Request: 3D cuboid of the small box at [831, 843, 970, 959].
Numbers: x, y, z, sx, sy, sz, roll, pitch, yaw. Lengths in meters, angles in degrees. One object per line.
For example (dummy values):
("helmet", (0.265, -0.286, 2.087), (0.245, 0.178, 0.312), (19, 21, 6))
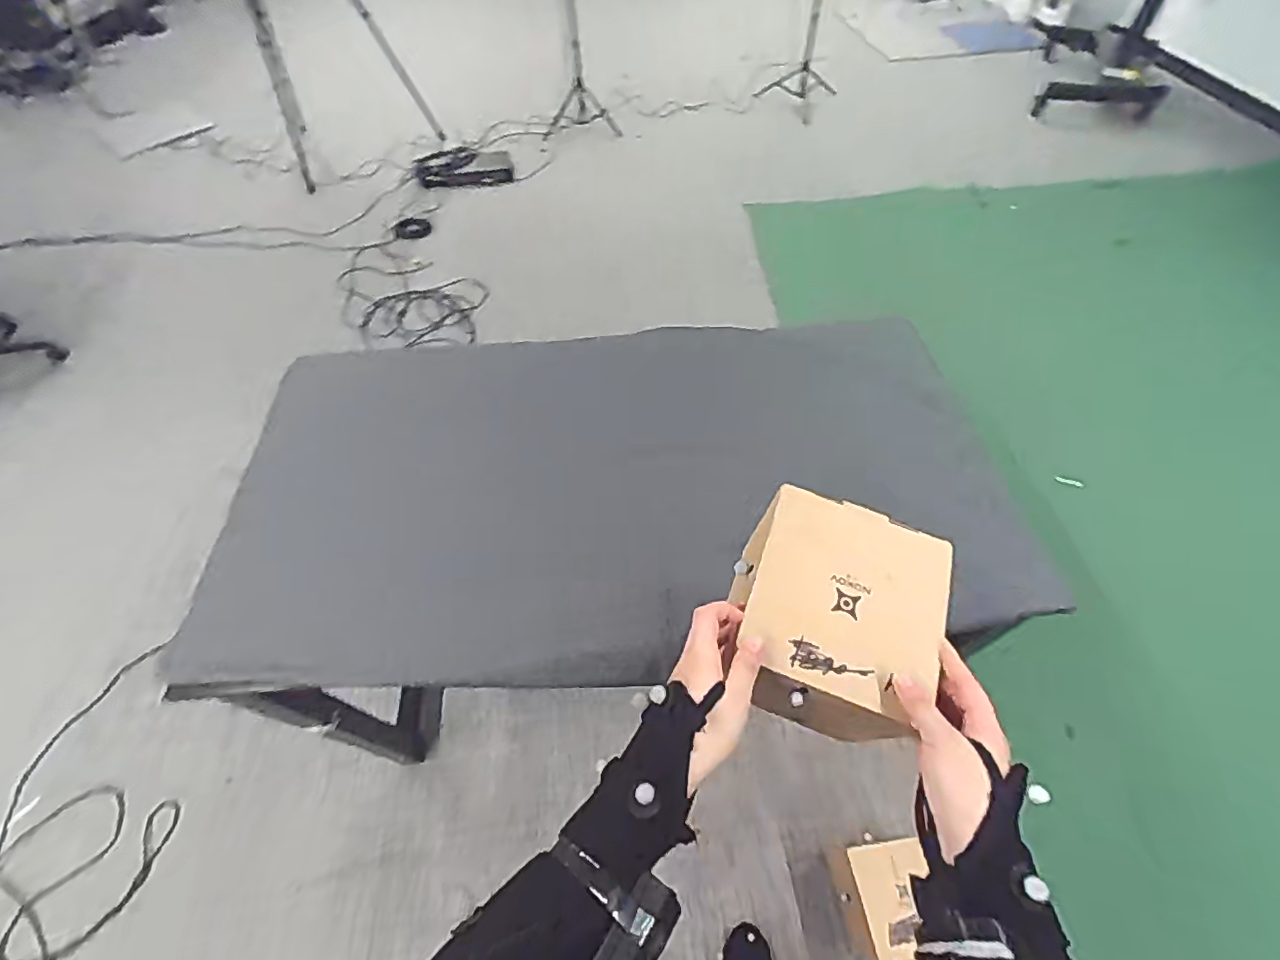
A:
("small box", (0.495, 0.826, 1.058), (0.168, 0.176, 0.179), (-6, 54, -2))
